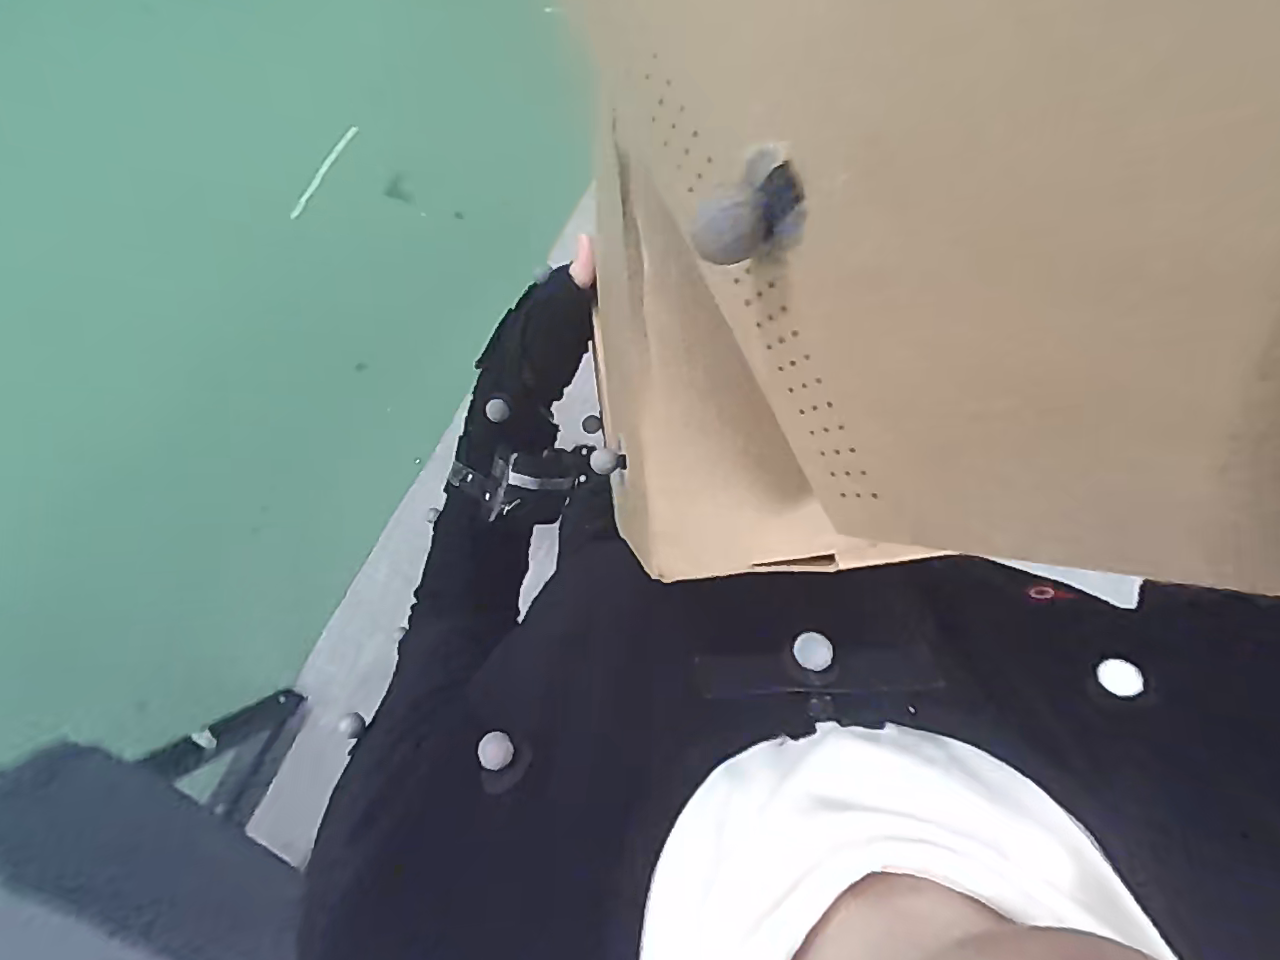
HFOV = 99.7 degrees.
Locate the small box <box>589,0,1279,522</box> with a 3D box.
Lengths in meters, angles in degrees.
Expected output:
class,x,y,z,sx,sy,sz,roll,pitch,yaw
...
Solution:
class,x,y,z,sx,sy,sz,roll,pitch,yaw
small box,0.104,-0.104,0.092,0.168,0.176,0.179,-28,98,-14
